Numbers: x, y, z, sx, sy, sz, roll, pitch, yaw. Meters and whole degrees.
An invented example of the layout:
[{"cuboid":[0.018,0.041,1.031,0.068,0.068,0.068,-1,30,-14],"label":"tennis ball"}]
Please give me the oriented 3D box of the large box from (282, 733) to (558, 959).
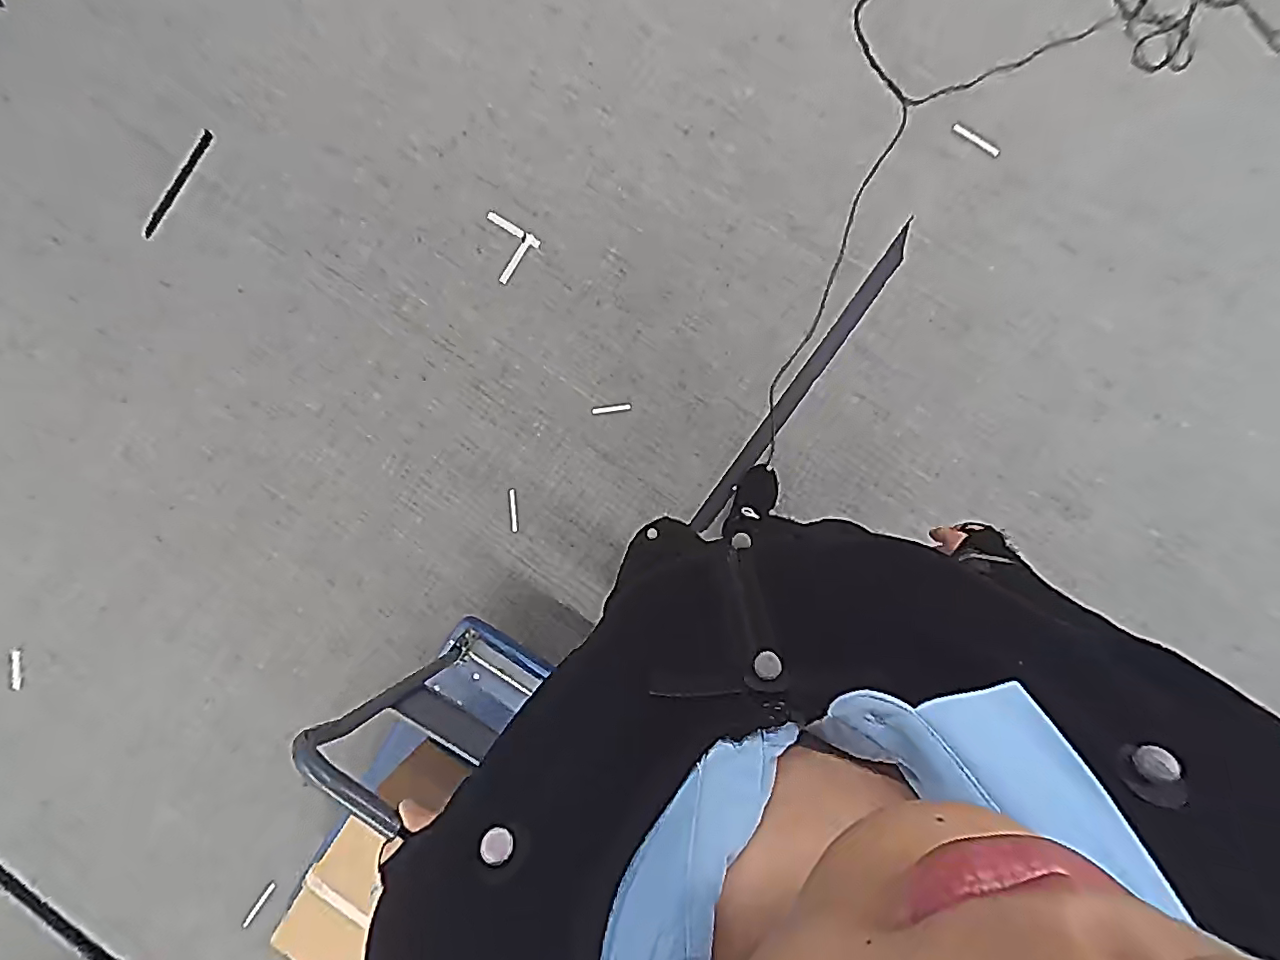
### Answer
[{"cuboid":[-0.453,0.853,1.198,0.408,0.320,0.320,33,91,3],"label":"large box"}]
